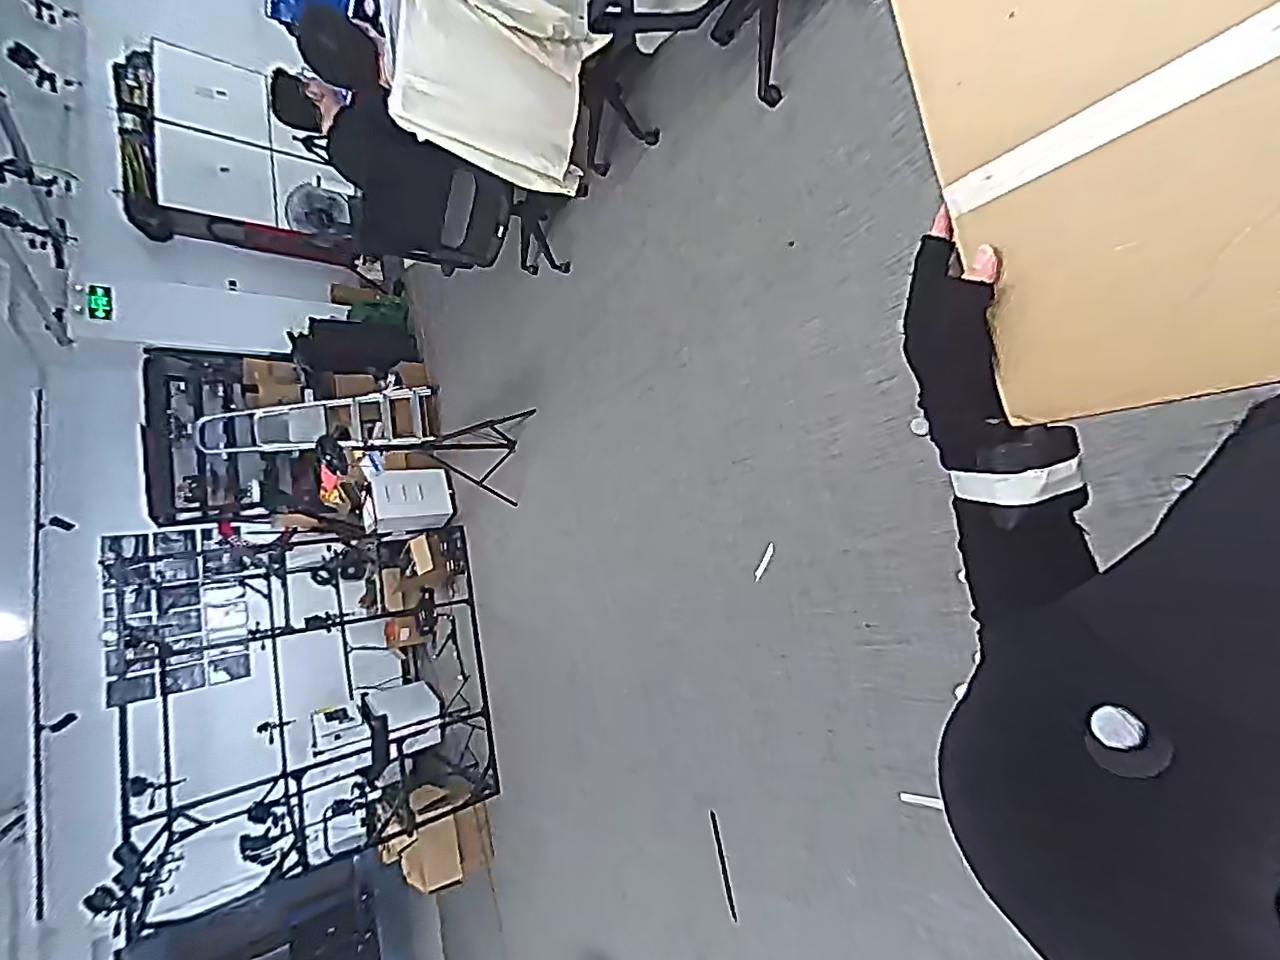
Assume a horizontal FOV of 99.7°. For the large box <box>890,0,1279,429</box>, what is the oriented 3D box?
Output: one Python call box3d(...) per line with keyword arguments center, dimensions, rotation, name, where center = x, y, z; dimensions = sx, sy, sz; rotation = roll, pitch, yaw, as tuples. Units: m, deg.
box3d(center=(0.436, -0.250, 0.289), dimensions=(0.408, 0.320, 0.320), rotation=(-13, 95, 56), name="large box")
